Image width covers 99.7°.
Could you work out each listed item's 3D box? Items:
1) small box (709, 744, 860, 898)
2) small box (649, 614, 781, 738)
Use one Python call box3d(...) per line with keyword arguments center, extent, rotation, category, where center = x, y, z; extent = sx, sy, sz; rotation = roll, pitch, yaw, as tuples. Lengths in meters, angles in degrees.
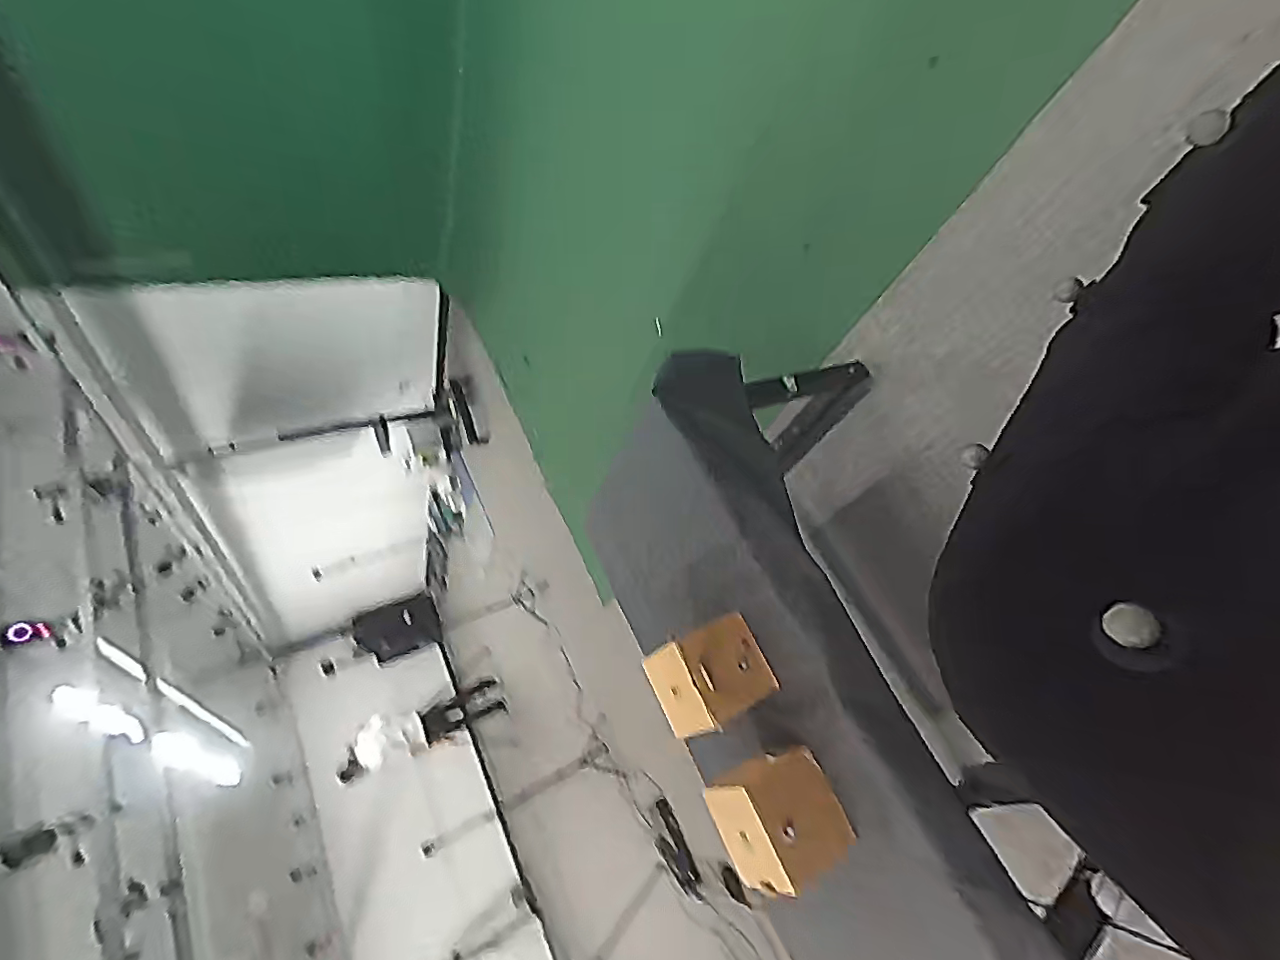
box3d(center=(0.266, 0.619, 1.000), extent=(0.179, 0.176, 0.168), rotation=(63, 147, 19), category="small box")
box3d(center=(0.149, 0.393, 1.090), extent=(0.168, 0.176, 0.179), rotation=(62, 147, 20), category="small box")
